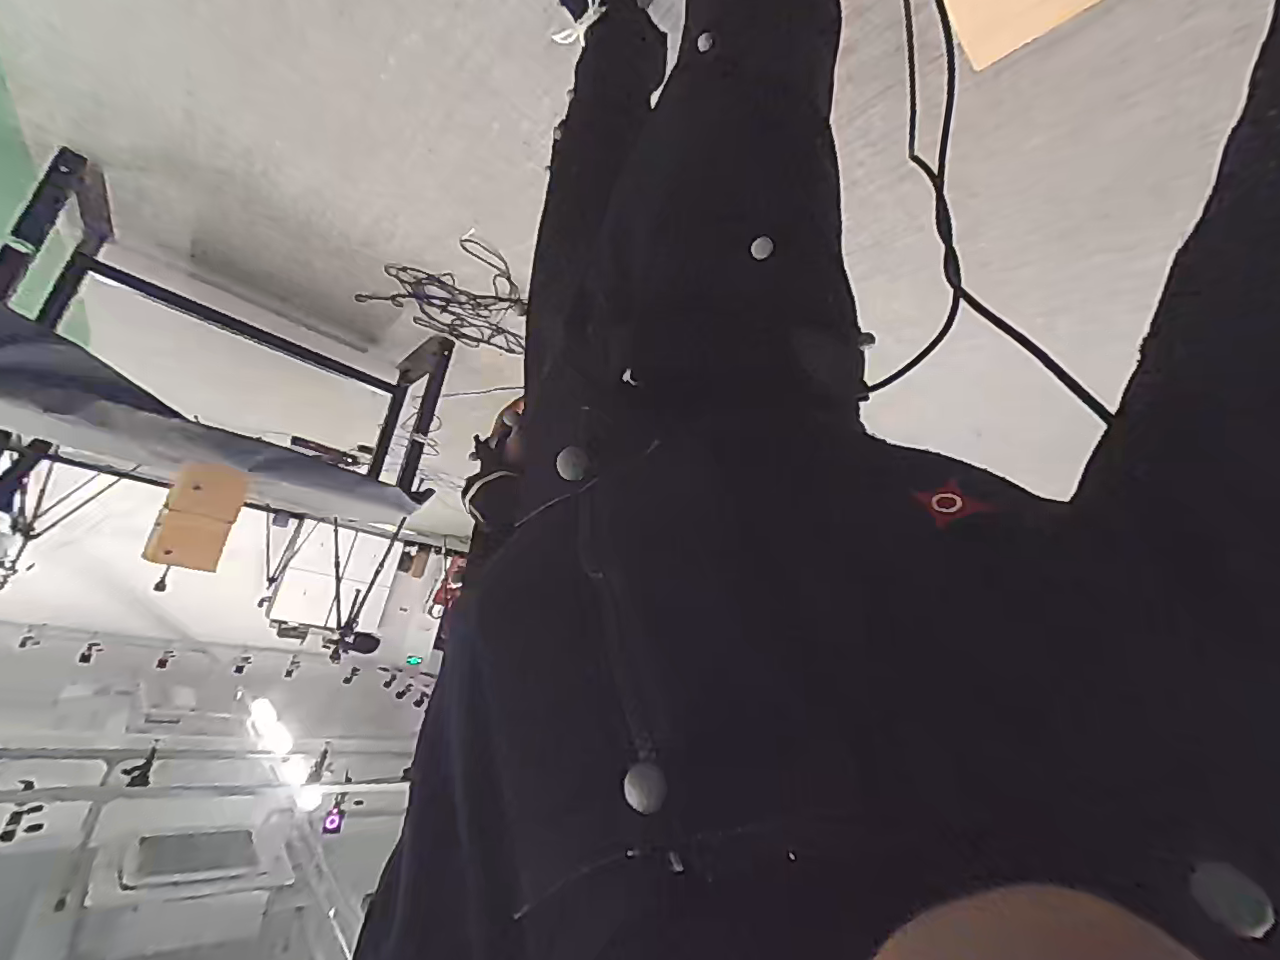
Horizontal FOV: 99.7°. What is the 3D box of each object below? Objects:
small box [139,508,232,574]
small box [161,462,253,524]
[{"bbox_3d":[-1.458,0.196,1.741,0.168,0.176,0.179,-2,159,41],"label":"small box"},{"bbox_3d":[-1.425,0.041,1.781,0.168,0.176,0.179,-2,161,41],"label":"small box"}]
